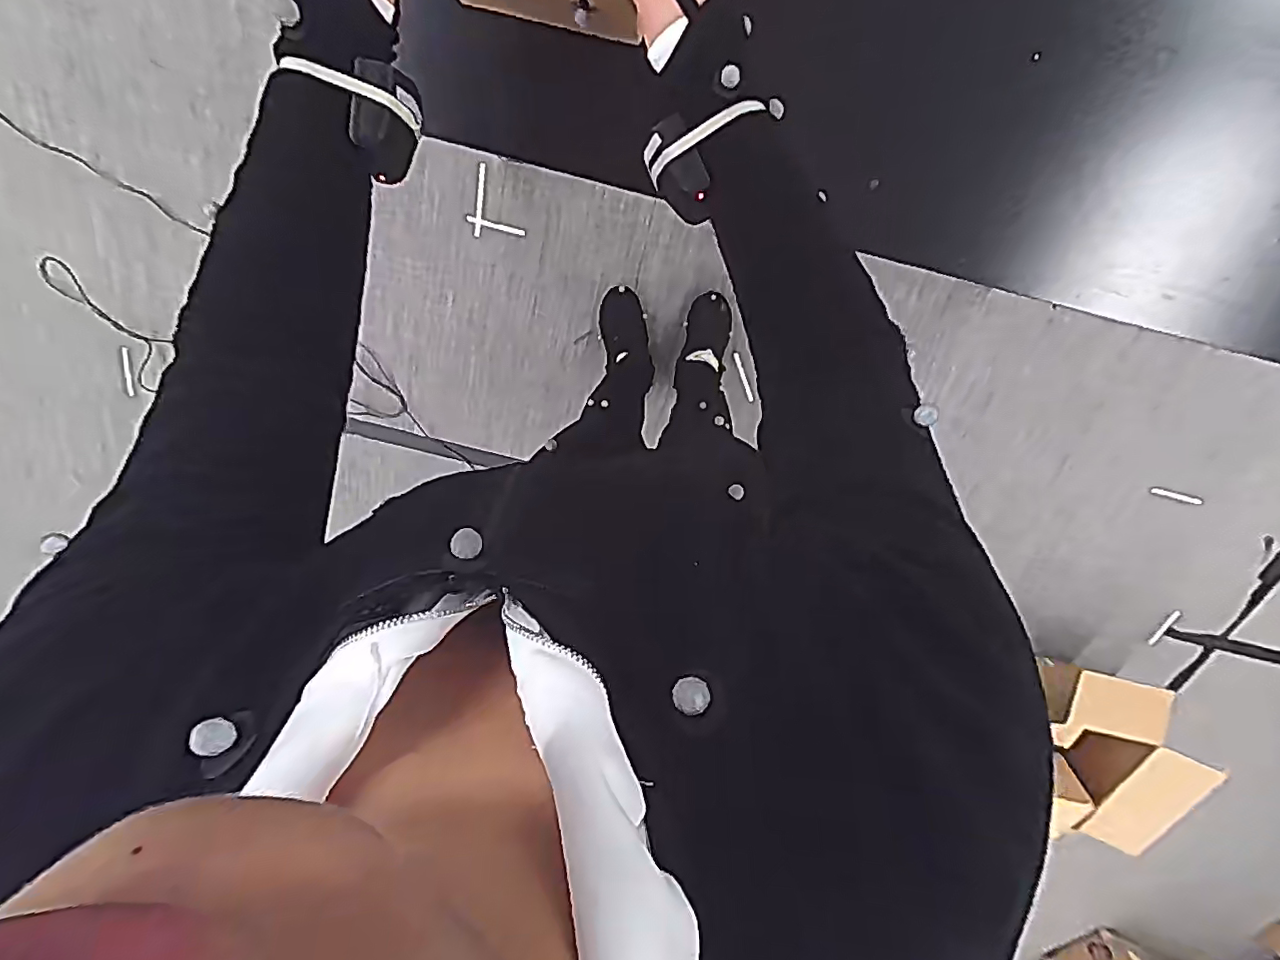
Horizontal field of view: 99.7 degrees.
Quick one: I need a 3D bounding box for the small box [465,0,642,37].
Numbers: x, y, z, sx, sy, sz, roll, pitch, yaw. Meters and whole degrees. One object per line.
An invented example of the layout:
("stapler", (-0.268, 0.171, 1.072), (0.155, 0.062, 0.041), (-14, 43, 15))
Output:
("small box", (-0.073, -0.472, 0.410), (0.179, 0.176, 0.168), (11, 115, -3))
